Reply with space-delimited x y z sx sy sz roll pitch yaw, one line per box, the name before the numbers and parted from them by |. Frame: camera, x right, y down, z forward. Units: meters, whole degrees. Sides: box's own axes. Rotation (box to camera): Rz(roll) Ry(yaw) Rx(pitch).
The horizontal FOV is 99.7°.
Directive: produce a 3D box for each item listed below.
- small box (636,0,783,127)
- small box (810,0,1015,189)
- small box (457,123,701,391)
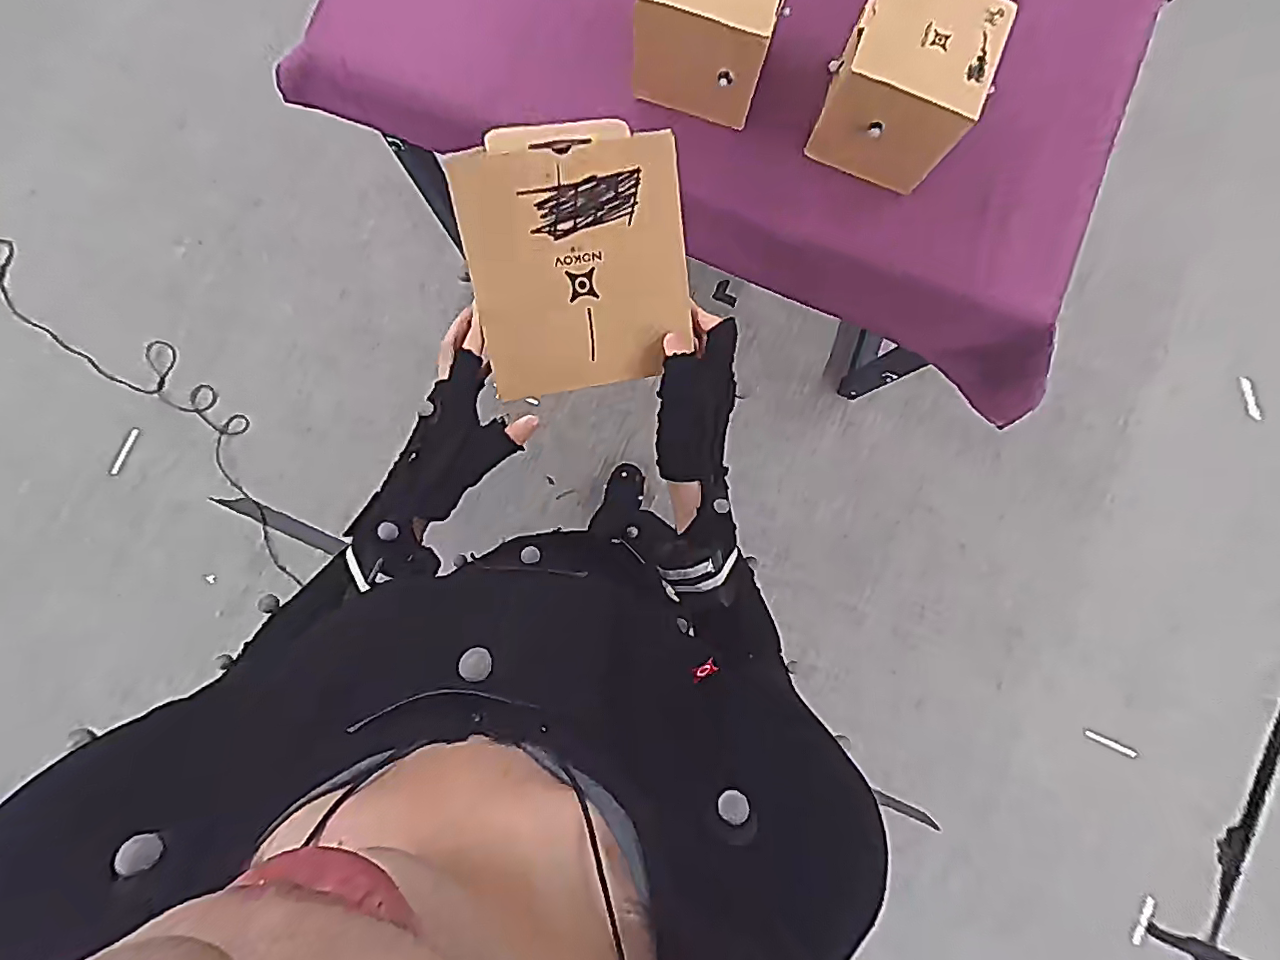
small box | 0.099 -0.638 0.754 0.179 0.176 0.168 16 85 0
small box | 0.363 -0.546 0.755 0.179 0.176 0.168 21 87 0
small box | -0.055 -0.189 0.482 0.168 0.176 0.179 -11 111 -8
